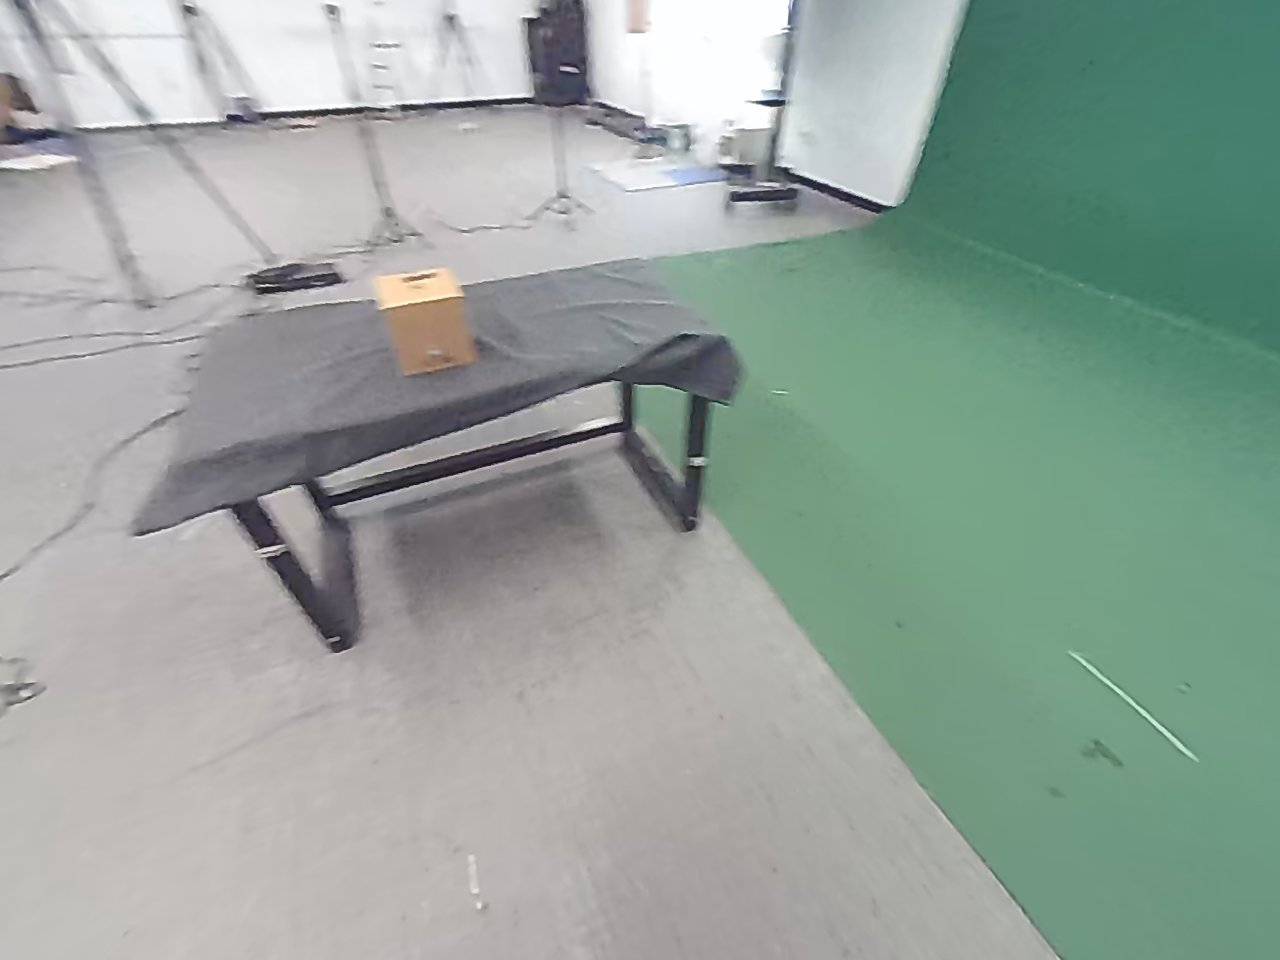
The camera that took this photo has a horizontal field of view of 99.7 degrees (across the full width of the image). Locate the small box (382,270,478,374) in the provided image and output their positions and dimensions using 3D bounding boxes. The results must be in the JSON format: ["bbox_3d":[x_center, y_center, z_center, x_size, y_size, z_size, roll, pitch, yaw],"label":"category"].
[{"bbox_3d":[-0.490,-0.371,1.269,0.168,0.176,0.179,-17,45,-18],"label":"small box"}]
